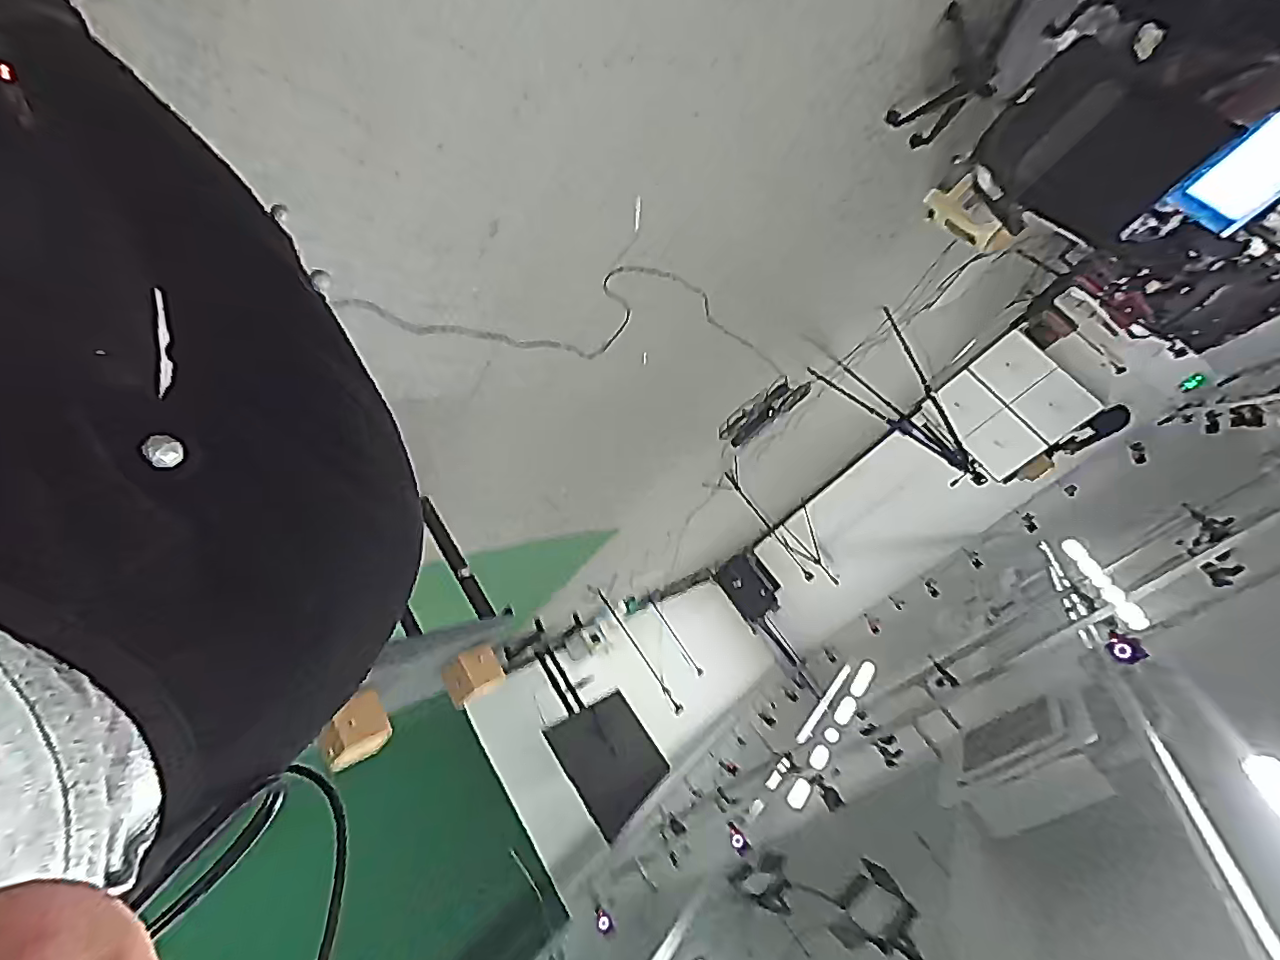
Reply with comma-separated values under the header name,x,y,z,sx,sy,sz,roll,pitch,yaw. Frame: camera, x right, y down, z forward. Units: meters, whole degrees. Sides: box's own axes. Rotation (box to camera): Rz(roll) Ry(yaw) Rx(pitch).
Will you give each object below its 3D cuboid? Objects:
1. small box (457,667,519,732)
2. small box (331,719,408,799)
name,x,y,z,sx,sy,sz,roll,pitch,yaw
small box,-0.658,0.936,2.320,0.179,0.176,0.168,-49,157,27
small box,-0.956,0.969,1.899,0.168,0.176,0.179,-5,143,-54
